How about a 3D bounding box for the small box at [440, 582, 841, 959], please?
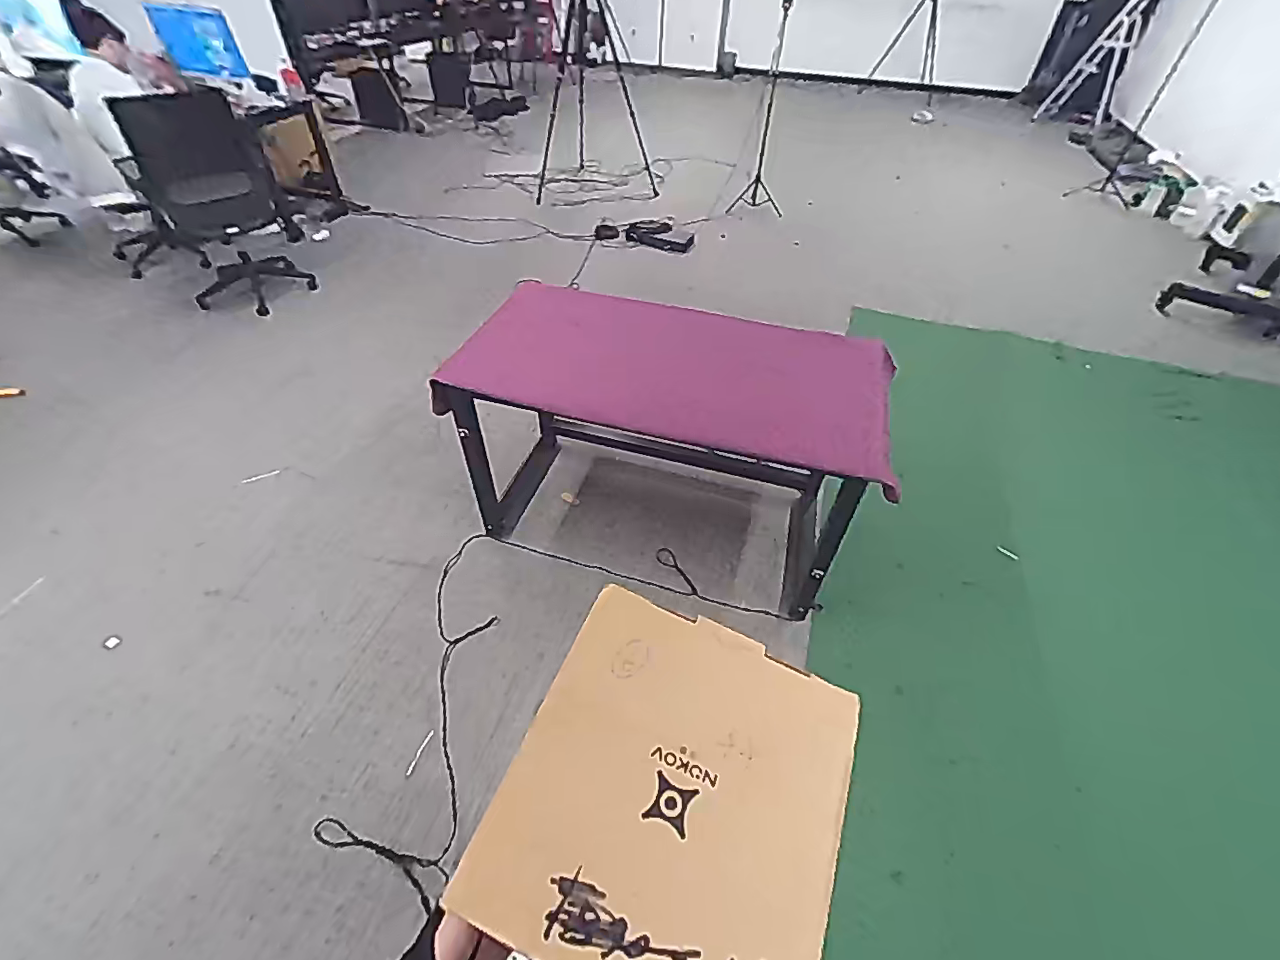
[{"bbox_3d":[0.004,0.203,0.346,0.168,0.176,0.179,22,54,9],"label":"small box"}]
